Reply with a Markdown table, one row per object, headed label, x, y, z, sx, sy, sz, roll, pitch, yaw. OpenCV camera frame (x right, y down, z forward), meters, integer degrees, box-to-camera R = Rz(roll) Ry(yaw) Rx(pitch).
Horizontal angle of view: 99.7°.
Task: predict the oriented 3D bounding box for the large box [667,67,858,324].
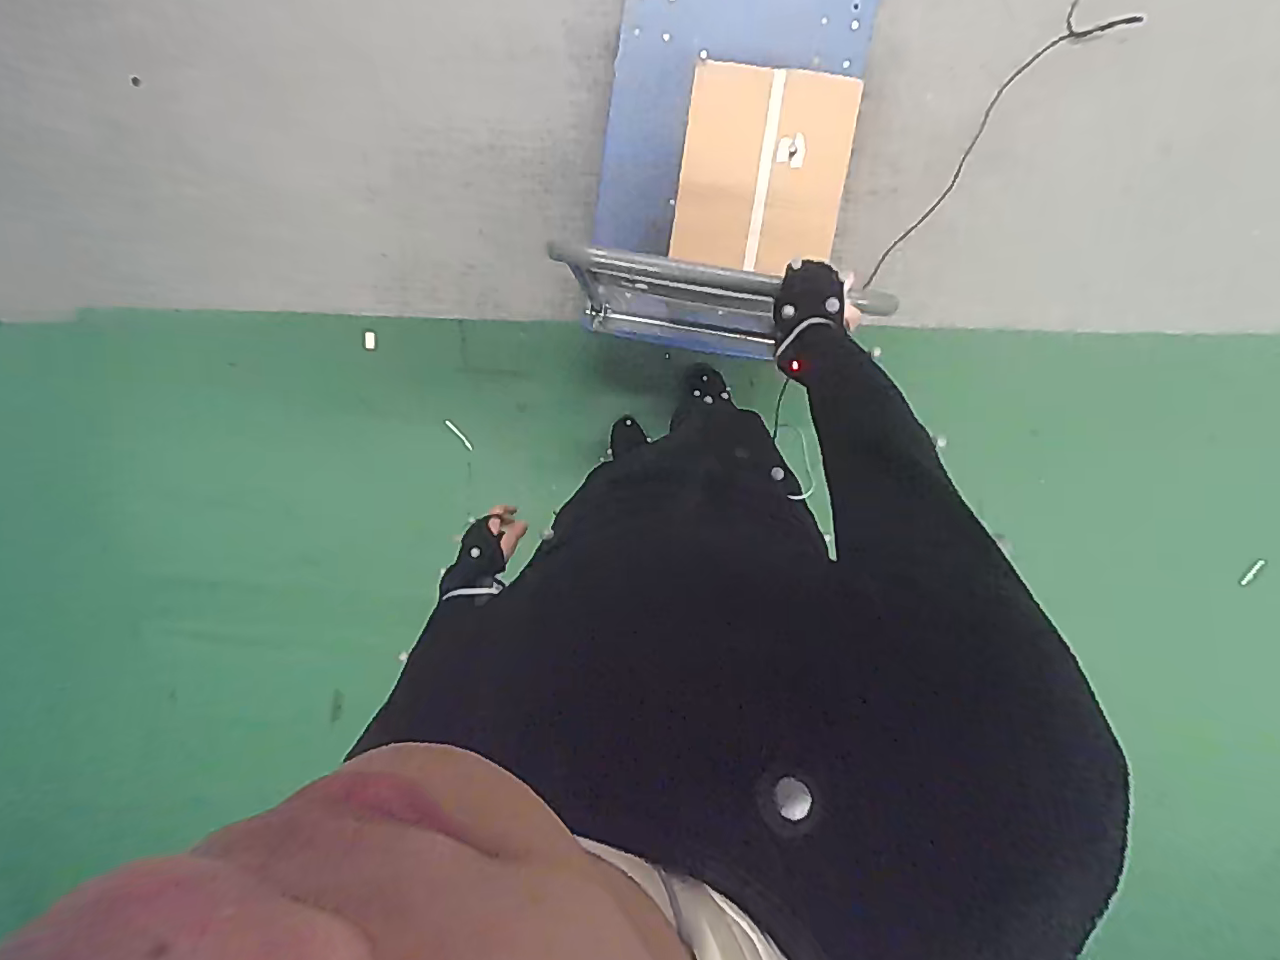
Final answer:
| label | x | y | z | sx | sy | sz | roll | pitch | yaw |
| --- | --- | --- | --- | --- | --- | --- | --- | --- | --- |
| large box | 0.236 | -0.578 | 1.182 | 0.320 | 0.320 | 0.408 | 9 | 100 | 0 |
